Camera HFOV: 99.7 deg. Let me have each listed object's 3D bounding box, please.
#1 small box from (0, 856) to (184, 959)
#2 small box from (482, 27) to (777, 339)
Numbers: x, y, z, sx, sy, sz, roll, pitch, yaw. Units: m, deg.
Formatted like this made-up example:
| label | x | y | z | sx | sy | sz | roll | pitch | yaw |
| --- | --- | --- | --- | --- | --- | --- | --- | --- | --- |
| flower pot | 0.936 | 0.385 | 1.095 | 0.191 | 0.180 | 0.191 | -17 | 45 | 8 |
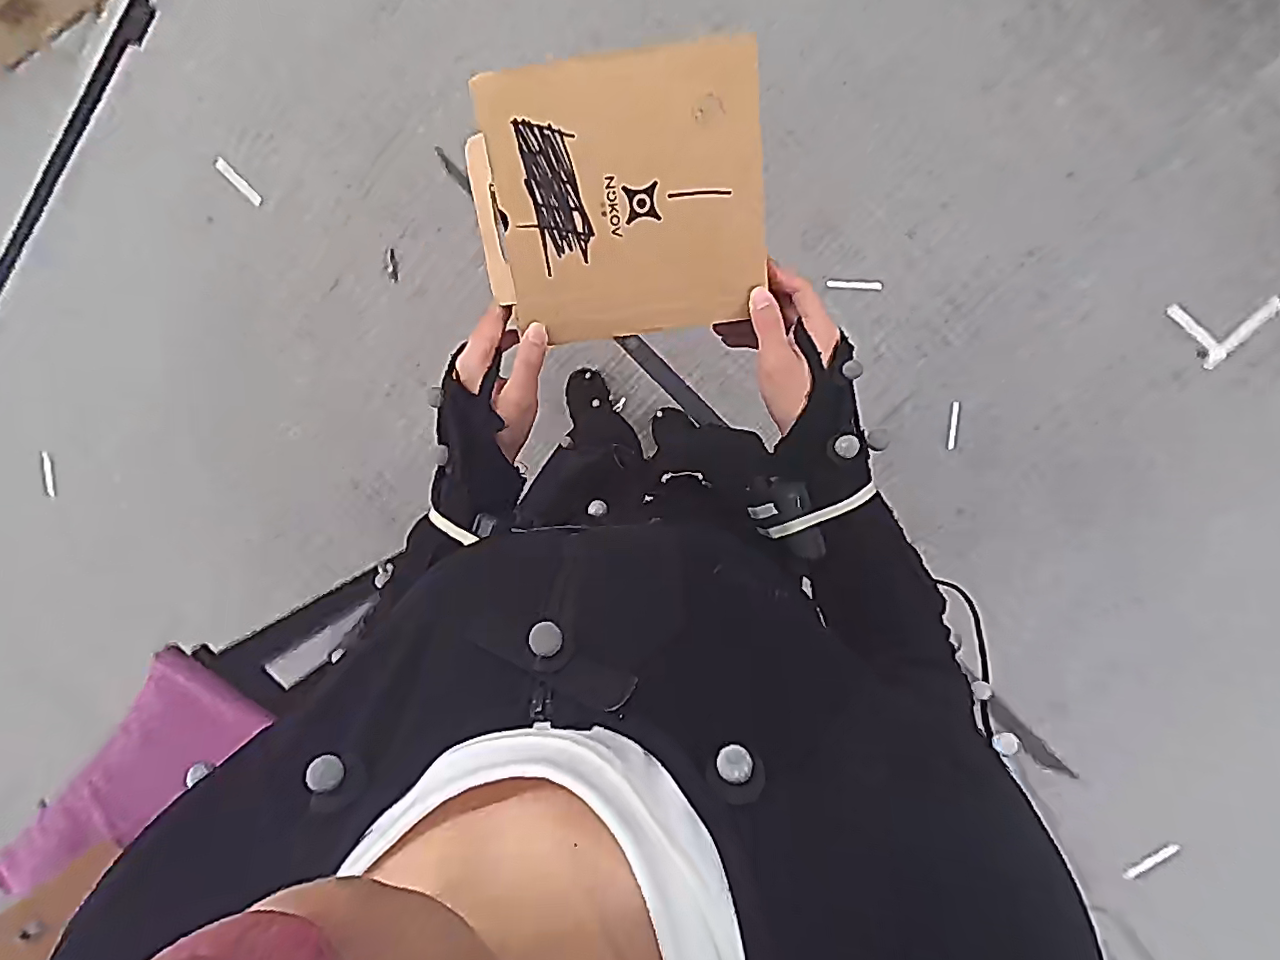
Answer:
| label | x | y | z | sx | sy | sz | roll | pitch | yaw |
| --- | --- | --- | --- | --- | --- | --- | --- | --- | --- |
| small box | -0.822 | 0.685 | 0.769 | 0.179 | 0.176 | 0.168 | 44 | 102 | -1 |
| small box | 0.000 | -0.205 | 0.419 | 0.179 | 0.176 | 0.168 | -6 | 109 | 2 |
